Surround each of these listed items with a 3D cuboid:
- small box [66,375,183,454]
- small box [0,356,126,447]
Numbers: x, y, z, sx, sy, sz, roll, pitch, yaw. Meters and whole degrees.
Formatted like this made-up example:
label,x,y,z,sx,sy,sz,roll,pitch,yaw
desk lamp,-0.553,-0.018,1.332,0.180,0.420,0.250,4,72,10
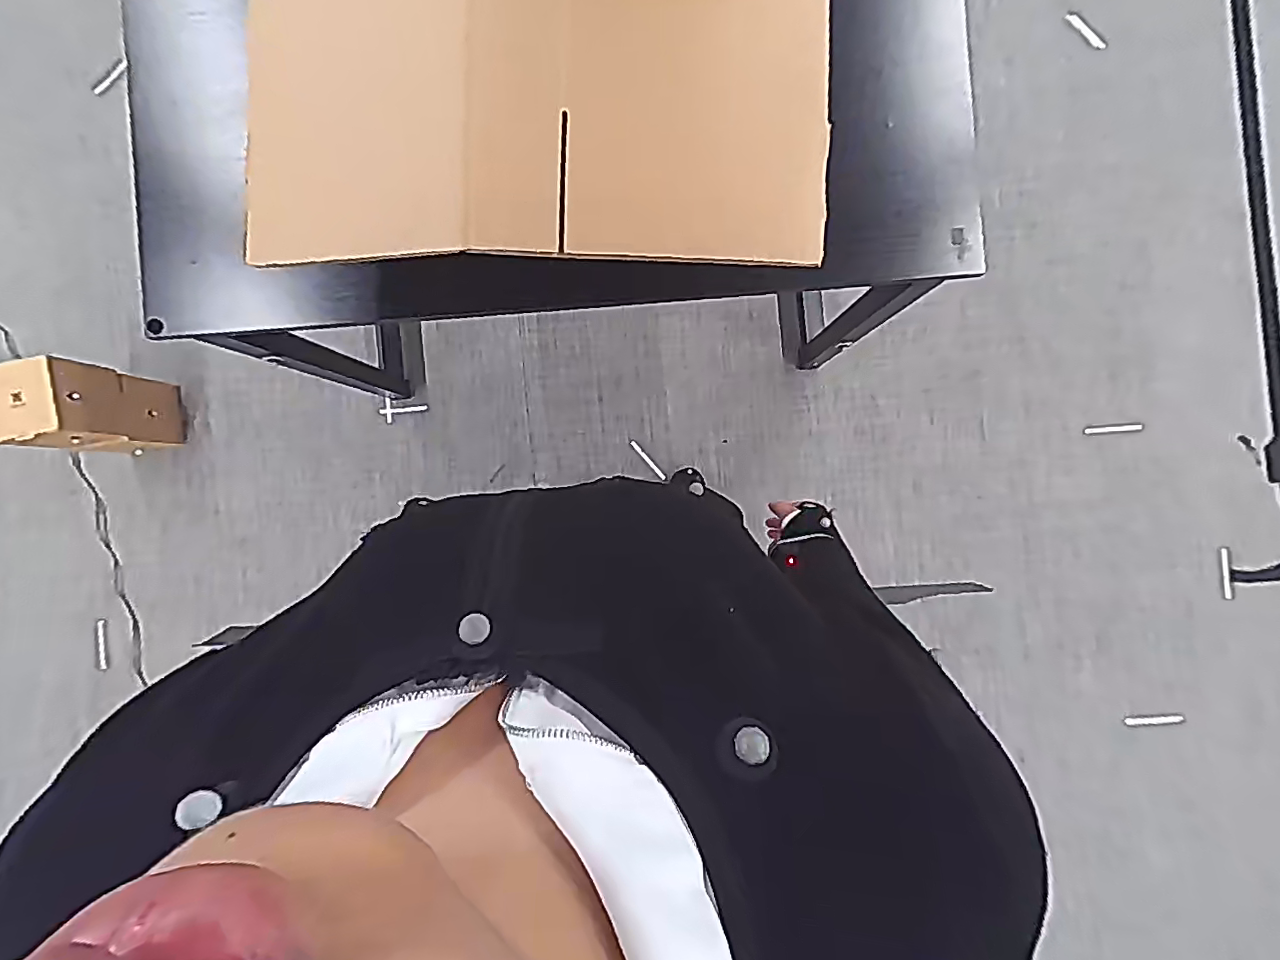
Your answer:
label,x,y,z,sx,sy,sz,roll,pitch,yaw
small box,-1.375,-0.170,1.443,0.168,0.176,0.179,-8,90,1
small box,-1.379,-0.177,1.280,0.168,0.176,0.179,-11,89,0
